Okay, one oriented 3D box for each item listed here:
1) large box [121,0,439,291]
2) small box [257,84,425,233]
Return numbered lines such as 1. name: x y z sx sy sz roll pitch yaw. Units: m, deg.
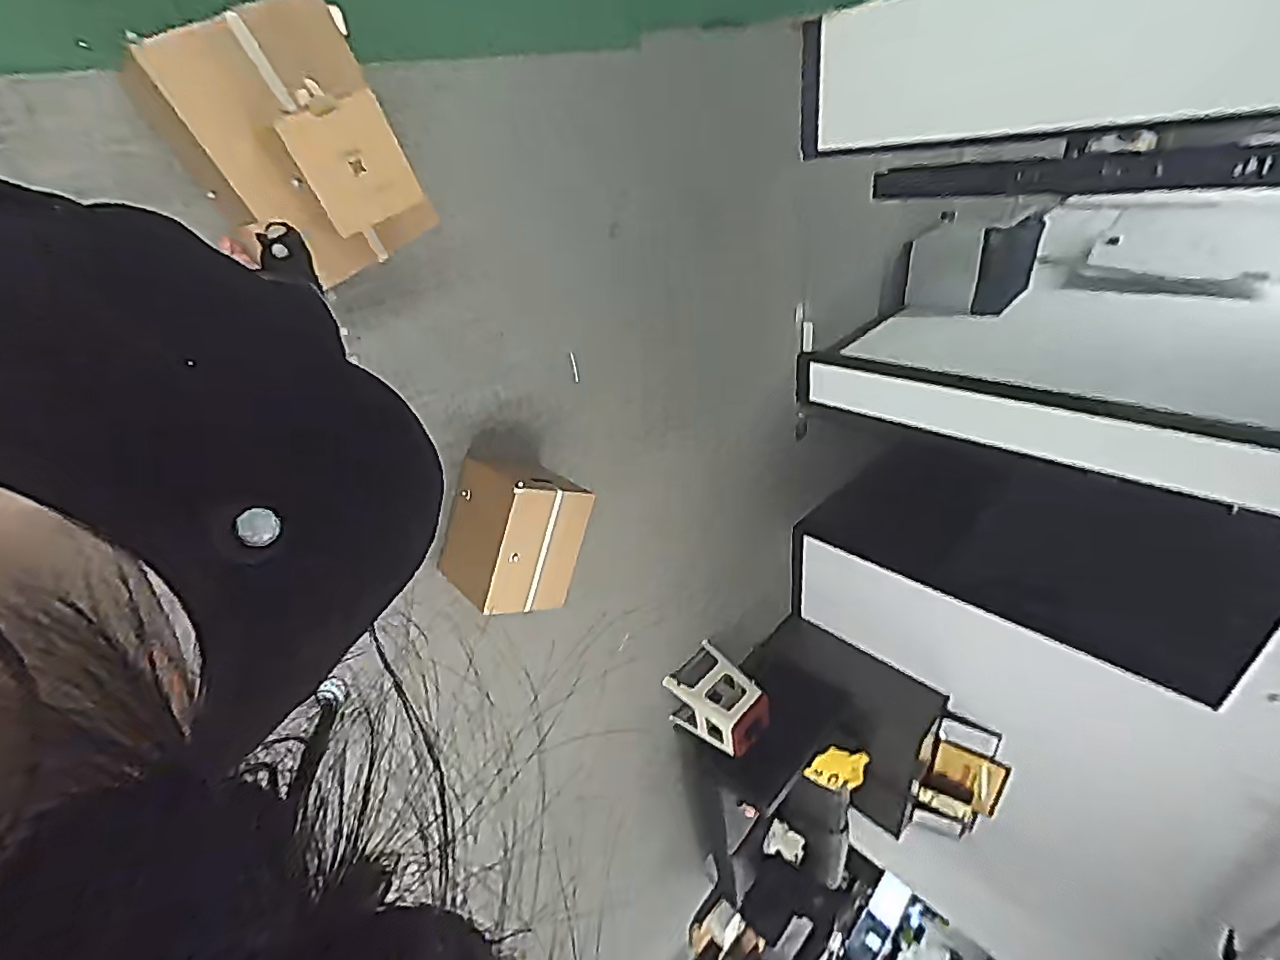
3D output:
1. large box: -0.690 -0.642 1.071 0.320 0.320 0.408 -45 134 -23
2. small box: -0.513 -0.543 0.928 0.168 0.176 0.179 -40 134 -24
